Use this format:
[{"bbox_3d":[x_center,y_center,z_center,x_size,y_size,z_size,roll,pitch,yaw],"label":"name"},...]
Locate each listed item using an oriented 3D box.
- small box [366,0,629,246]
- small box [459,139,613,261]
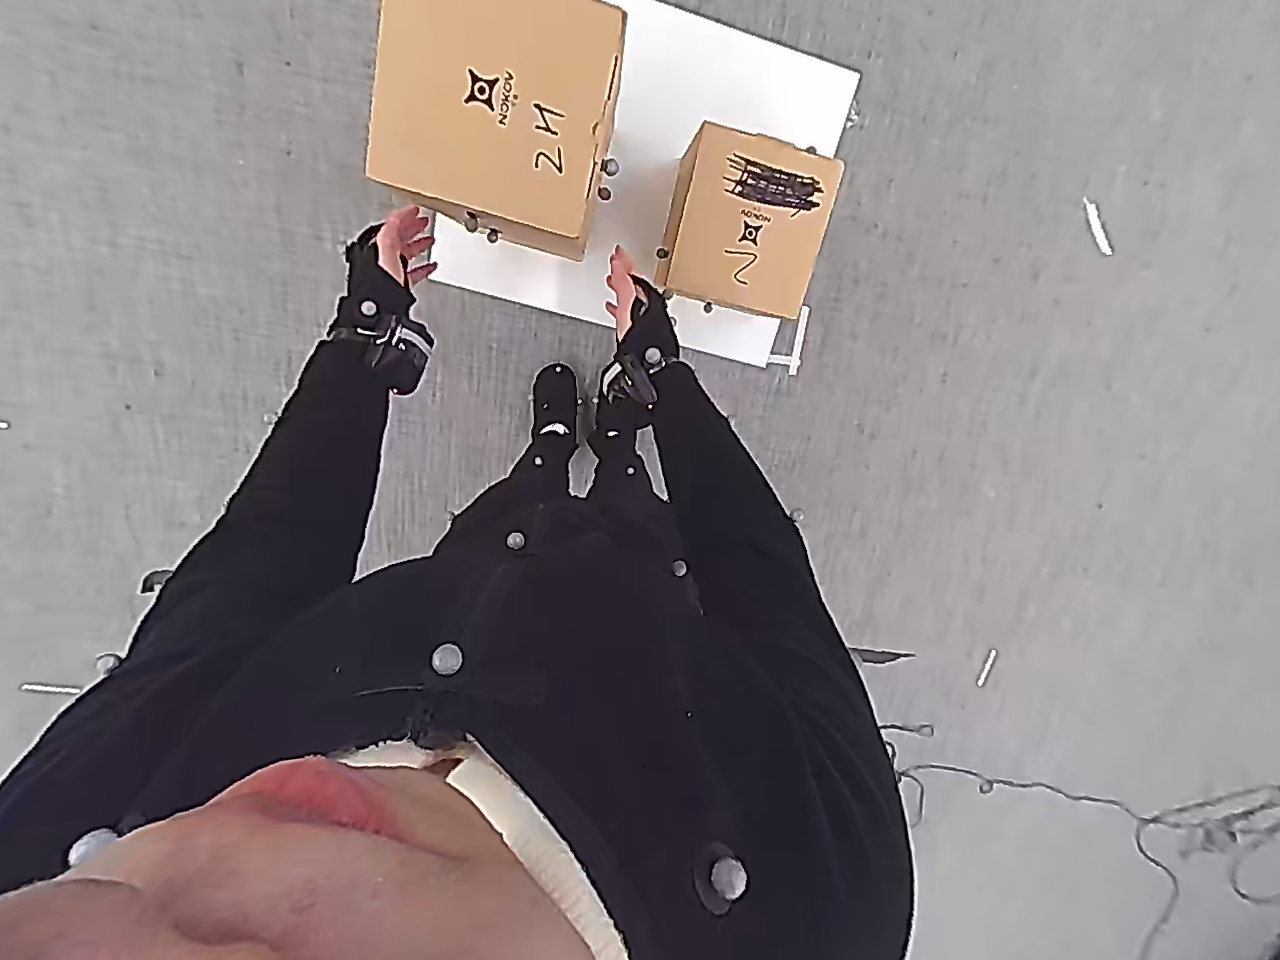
[{"bbox_3d":[-0.117,-0.322,0.490,0.179,0.176,0.168,13,108,-9],"label":"small box"},{"bbox_3d":[-0.127,-0.379,0.645,0.168,0.176,0.179,14,106,-8],"label":"small box"}]
